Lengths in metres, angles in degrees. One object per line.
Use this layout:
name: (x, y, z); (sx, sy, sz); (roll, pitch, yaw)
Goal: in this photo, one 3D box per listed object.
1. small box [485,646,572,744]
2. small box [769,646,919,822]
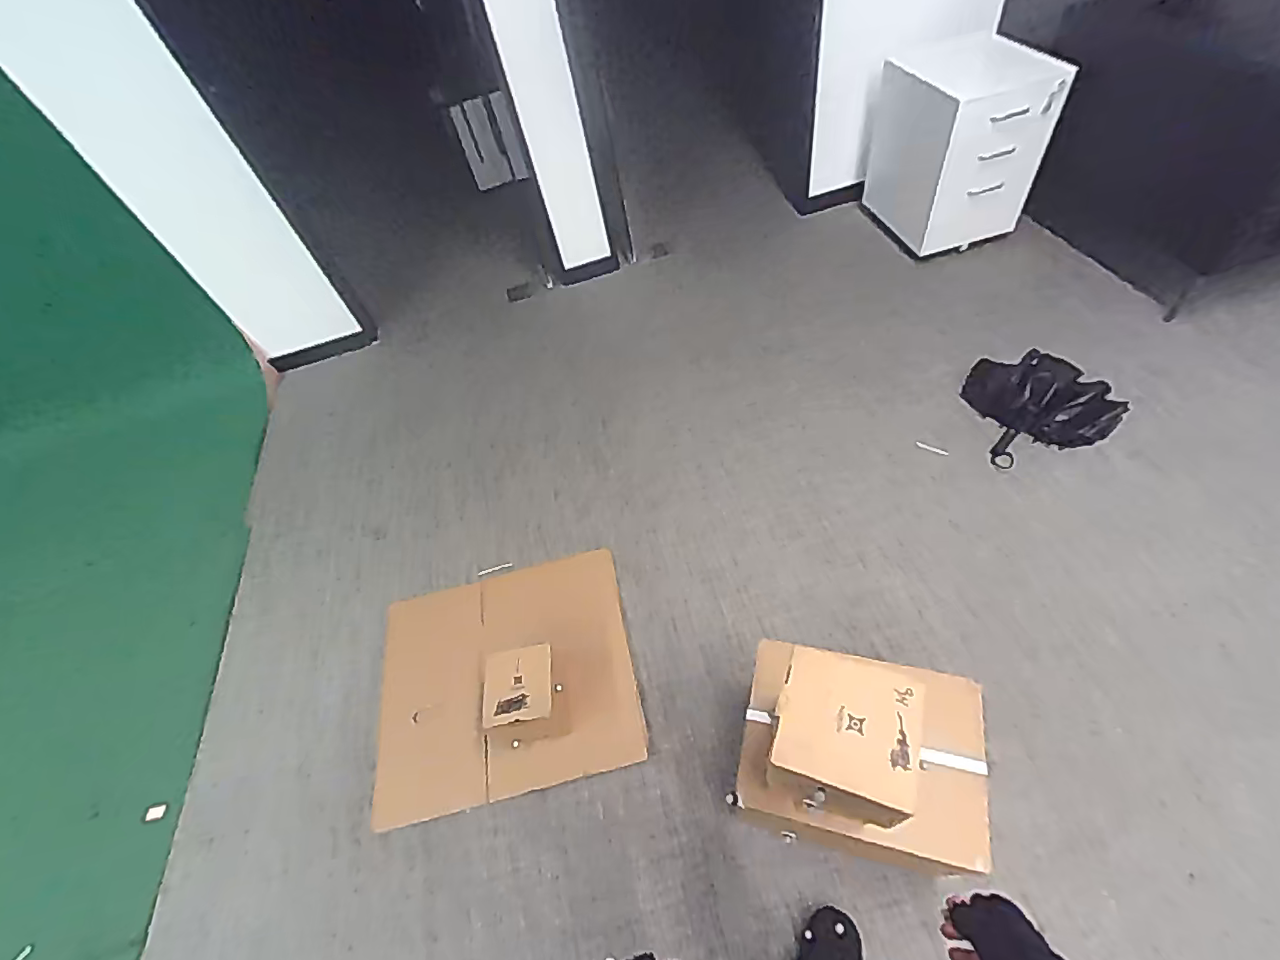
small box: (-0.269, 0.538, 1.338); (0.168, 0.176, 0.179); (-12, 50, 4)
small box: (0.285, 0.366, 0.775); (0.179, 0.176, 0.168); (9, 54, 19)
